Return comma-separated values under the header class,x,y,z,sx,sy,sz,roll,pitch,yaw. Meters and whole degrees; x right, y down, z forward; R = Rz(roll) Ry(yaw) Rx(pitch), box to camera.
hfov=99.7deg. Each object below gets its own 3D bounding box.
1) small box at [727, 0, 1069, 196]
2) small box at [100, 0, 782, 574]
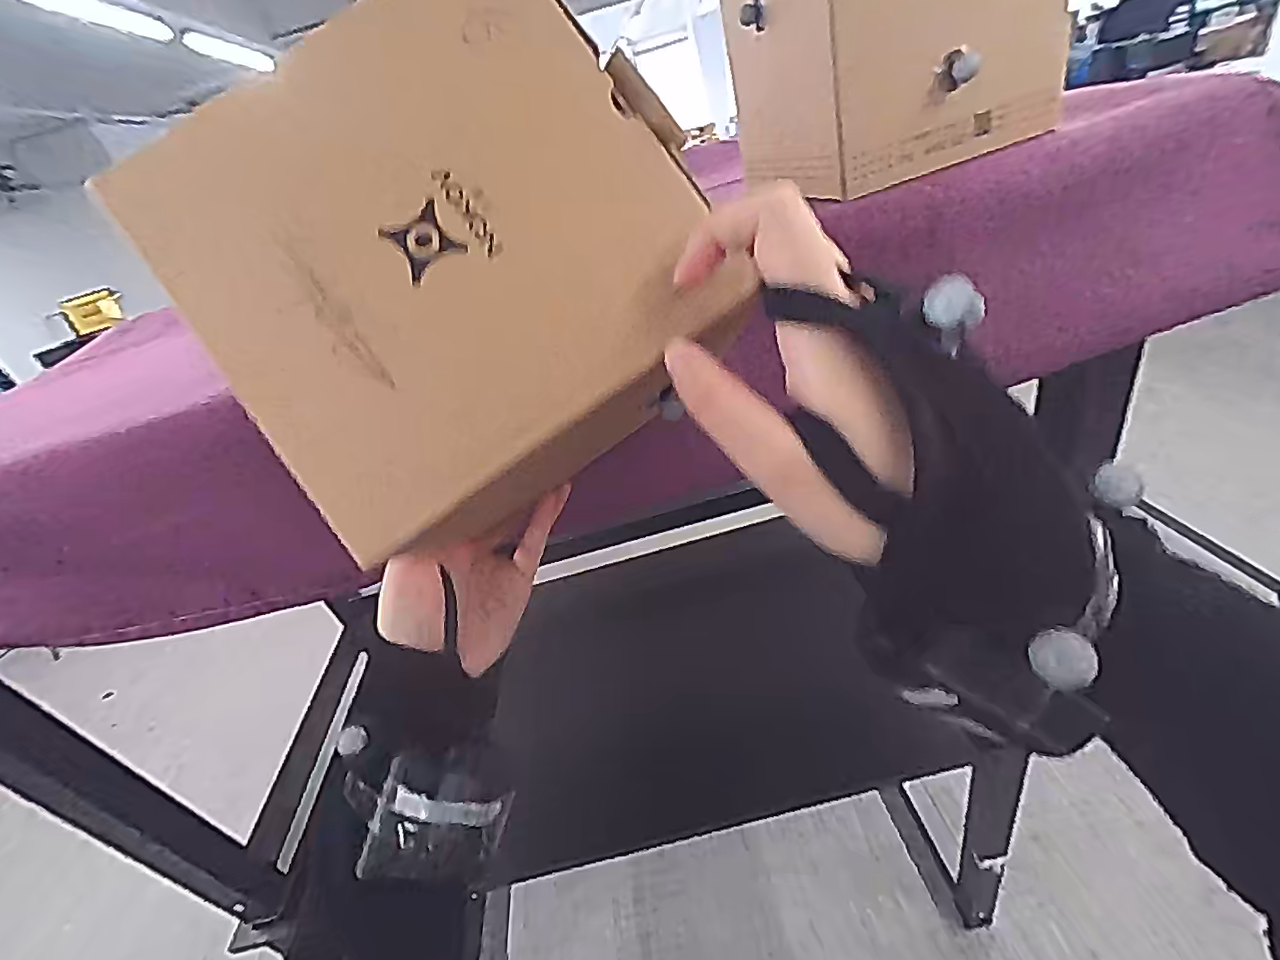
class,x,y,z,sx,sy,sz,roll,pitch,yaw
small box,0.176,-0.326,0.405,0.168,0.176,0.179,-20,31,-3
small box,-0.068,-0.081,0.264,0.179,0.168,0.176,-36,0,-2
